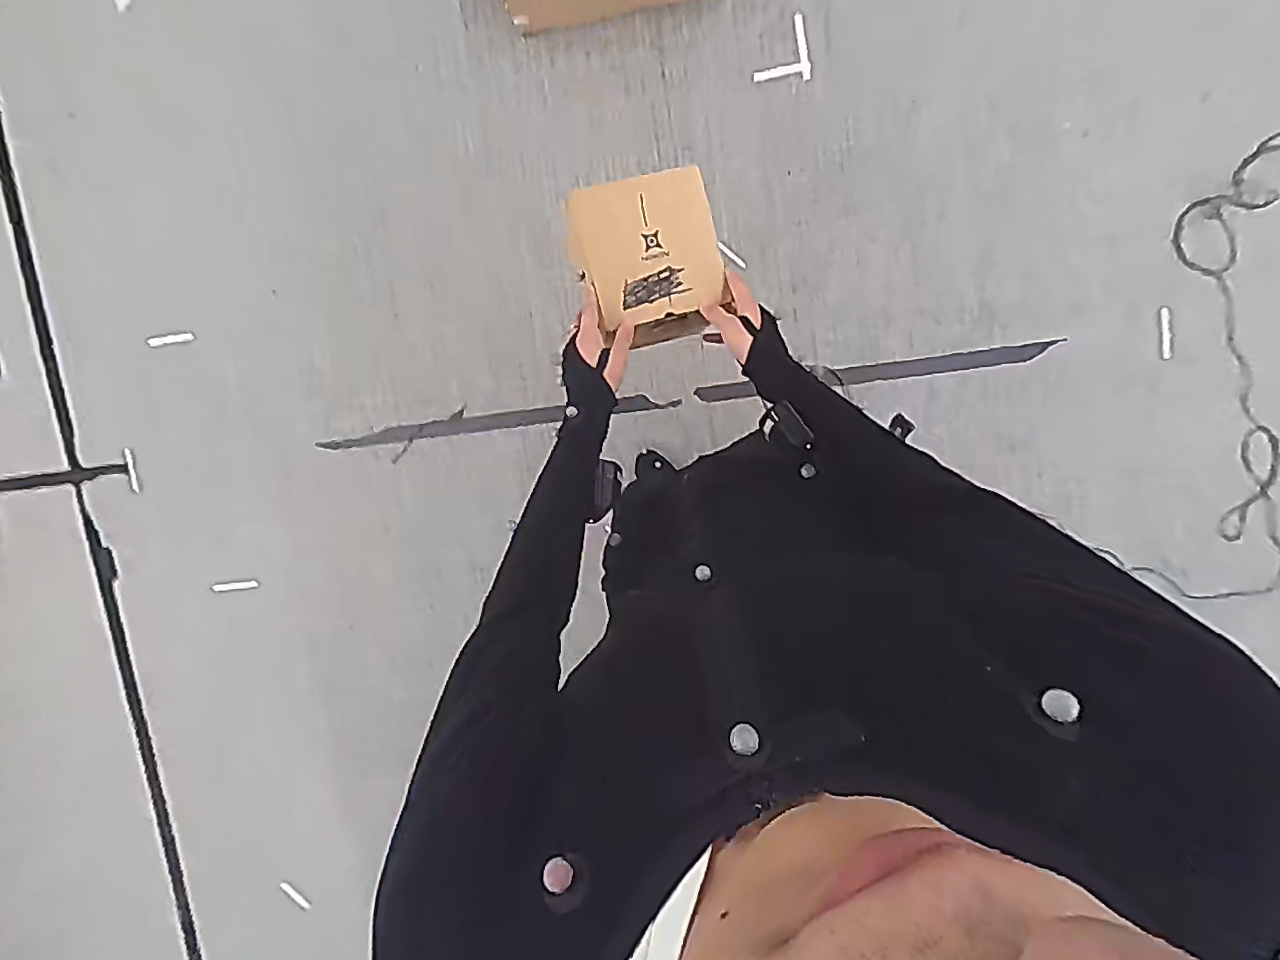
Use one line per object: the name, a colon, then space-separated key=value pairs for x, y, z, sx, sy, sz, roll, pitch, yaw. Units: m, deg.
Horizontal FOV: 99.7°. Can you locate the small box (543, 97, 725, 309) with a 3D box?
small box: x=-0.009 y=-0.328 z=0.683 sx=0.168 sy=0.176 sz=0.179 roll=-20 pitch=100 yaw=-2
